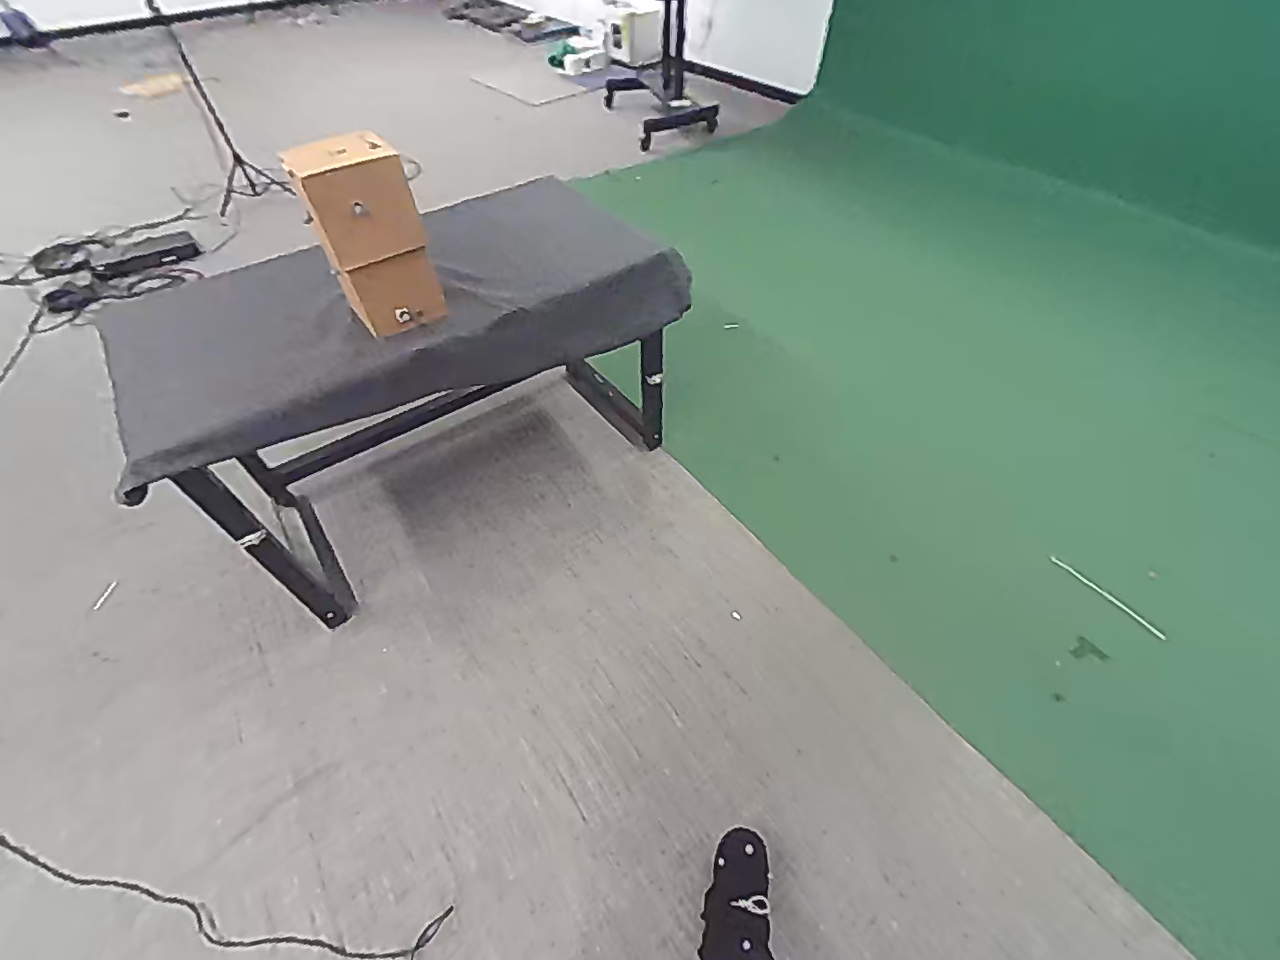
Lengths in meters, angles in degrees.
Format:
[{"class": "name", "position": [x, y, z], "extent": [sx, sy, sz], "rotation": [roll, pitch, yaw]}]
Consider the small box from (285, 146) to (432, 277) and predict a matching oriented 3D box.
[{"class": "small box", "position": [-0.538, -0.520, 1.049], "extent": [0.179, 0.176, 0.168], "rotation": [-32, 53, -23]}]

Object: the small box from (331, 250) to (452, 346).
[{"class": "small box", "position": [-0.539, -0.423, 1.179], "extent": [0.168, 0.176, 0.179], "rotation": [-32, 56, -22]}]
